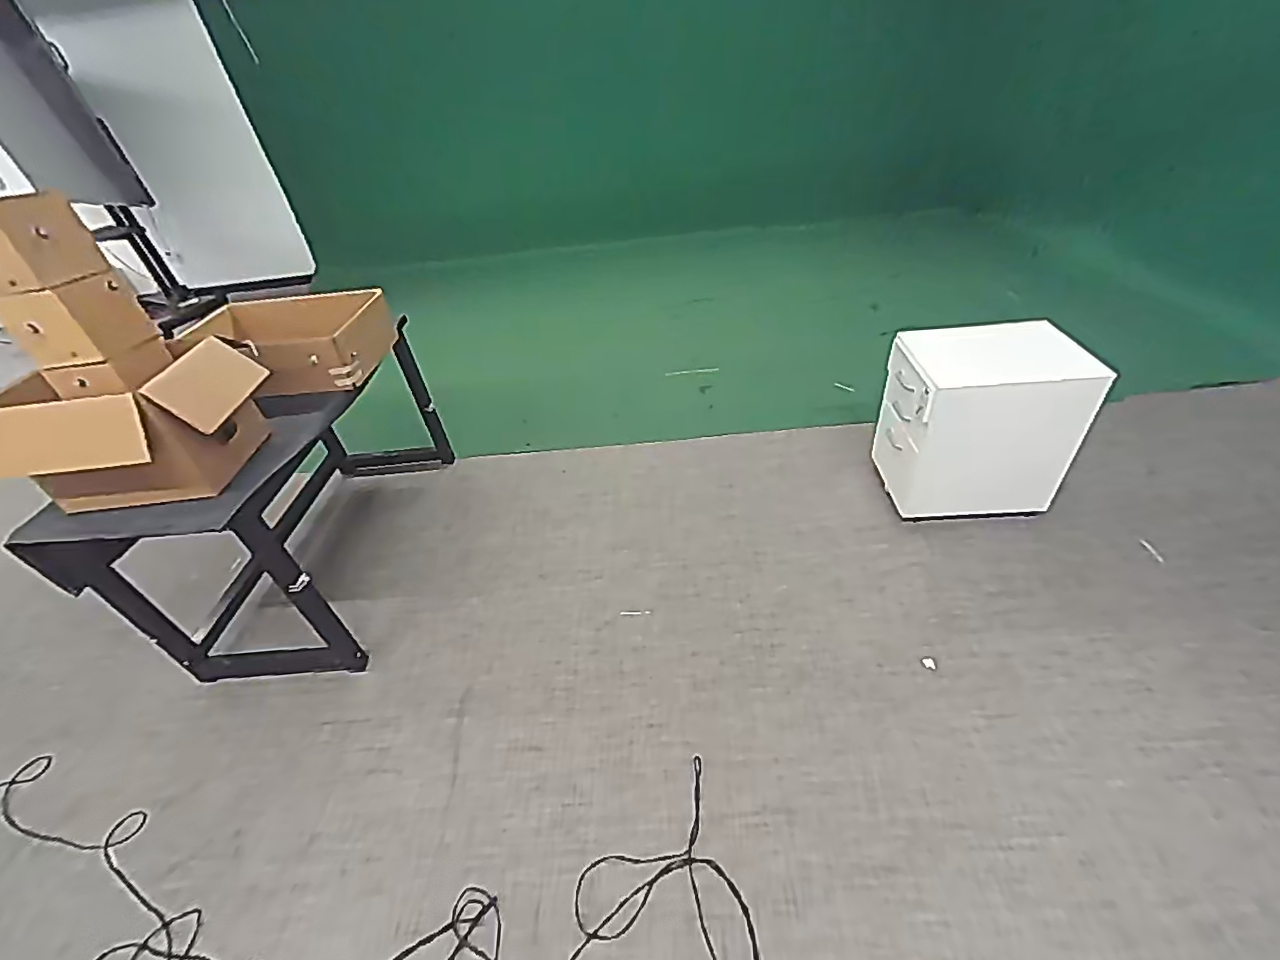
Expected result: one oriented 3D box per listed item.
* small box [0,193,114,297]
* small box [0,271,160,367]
[{"bbox_3d":[-1.323,-0.503,1.170,0.168,0.176,0.179,-5,35,7],"label":"small box"},{"bbox_3d":[-1.297,-0.371,1.264,0.168,0.176,0.179,-6,35,5],"label":"small box"}]
